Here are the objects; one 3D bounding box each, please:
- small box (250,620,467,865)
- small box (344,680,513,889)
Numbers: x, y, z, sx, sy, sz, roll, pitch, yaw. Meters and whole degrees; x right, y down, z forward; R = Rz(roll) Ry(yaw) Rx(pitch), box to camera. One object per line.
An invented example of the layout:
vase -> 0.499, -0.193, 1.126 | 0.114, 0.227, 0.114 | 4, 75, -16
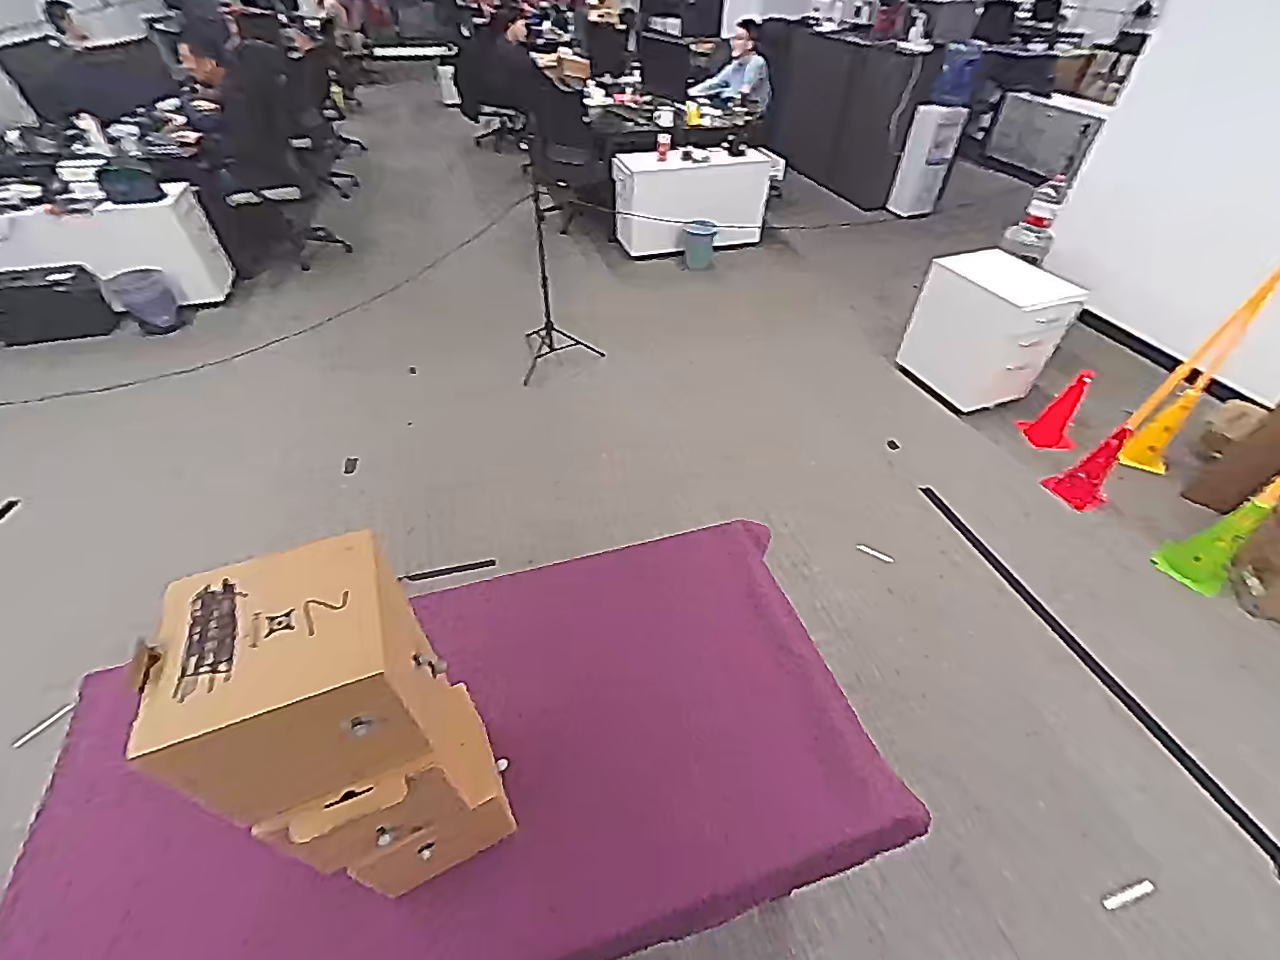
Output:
small box -> -0.309, 0.299, 0.622 | 0.168, 0.176, 0.179 | -16, 47, -16
small box -> -0.289, 0.416, 0.738 | 0.179, 0.176, 0.168 | -19, 48, -20
